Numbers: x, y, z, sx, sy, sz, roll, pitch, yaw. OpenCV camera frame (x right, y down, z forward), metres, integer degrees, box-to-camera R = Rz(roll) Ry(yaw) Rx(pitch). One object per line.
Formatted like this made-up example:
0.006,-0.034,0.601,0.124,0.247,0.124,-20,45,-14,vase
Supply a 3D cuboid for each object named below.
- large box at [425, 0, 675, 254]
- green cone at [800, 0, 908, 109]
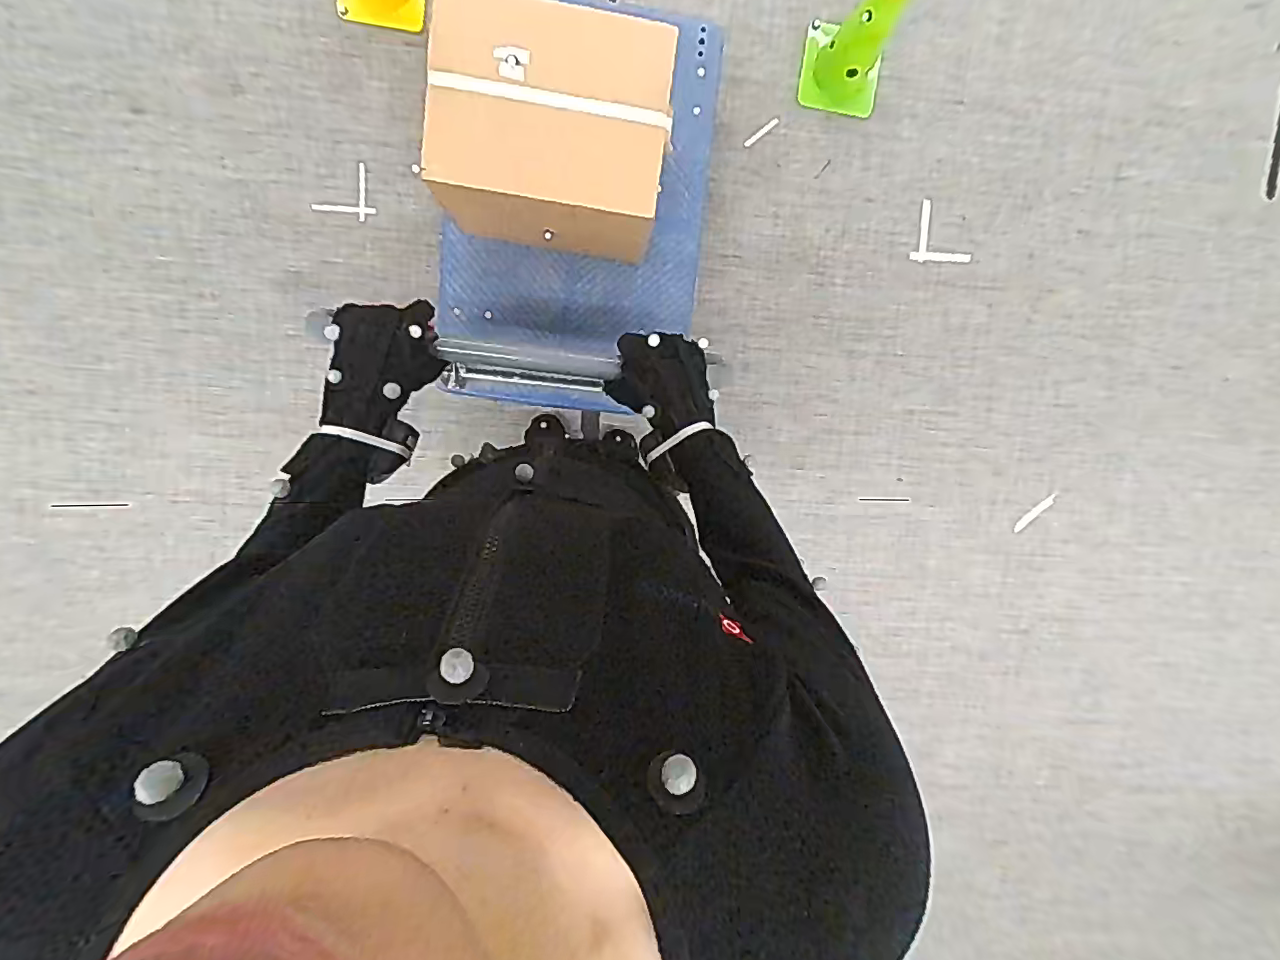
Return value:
-0.160,-0.666,1.067,0.408,0.320,0.320,8,97,-4,large box
0.529,-1.042,1.208,0.202,0.368,0.200,7,97,-6,green cone
